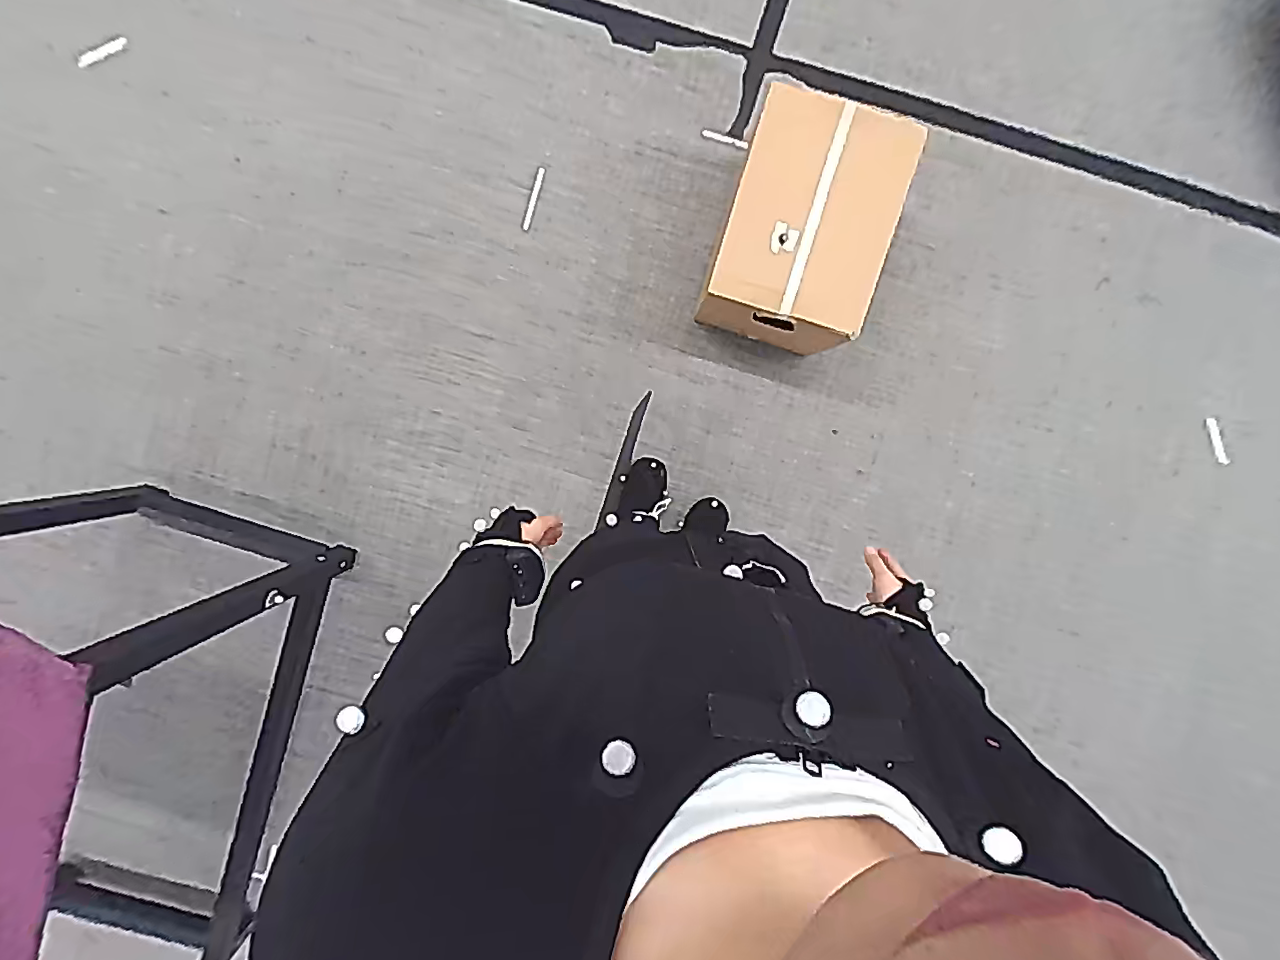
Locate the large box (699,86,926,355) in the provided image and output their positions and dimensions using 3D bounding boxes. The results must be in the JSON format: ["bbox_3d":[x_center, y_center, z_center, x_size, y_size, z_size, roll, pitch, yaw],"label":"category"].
[{"bbox_3d":[0.341,-0.523,1.176,0.320,0.320,0.408,16,97,-1],"label":"large box"}]
